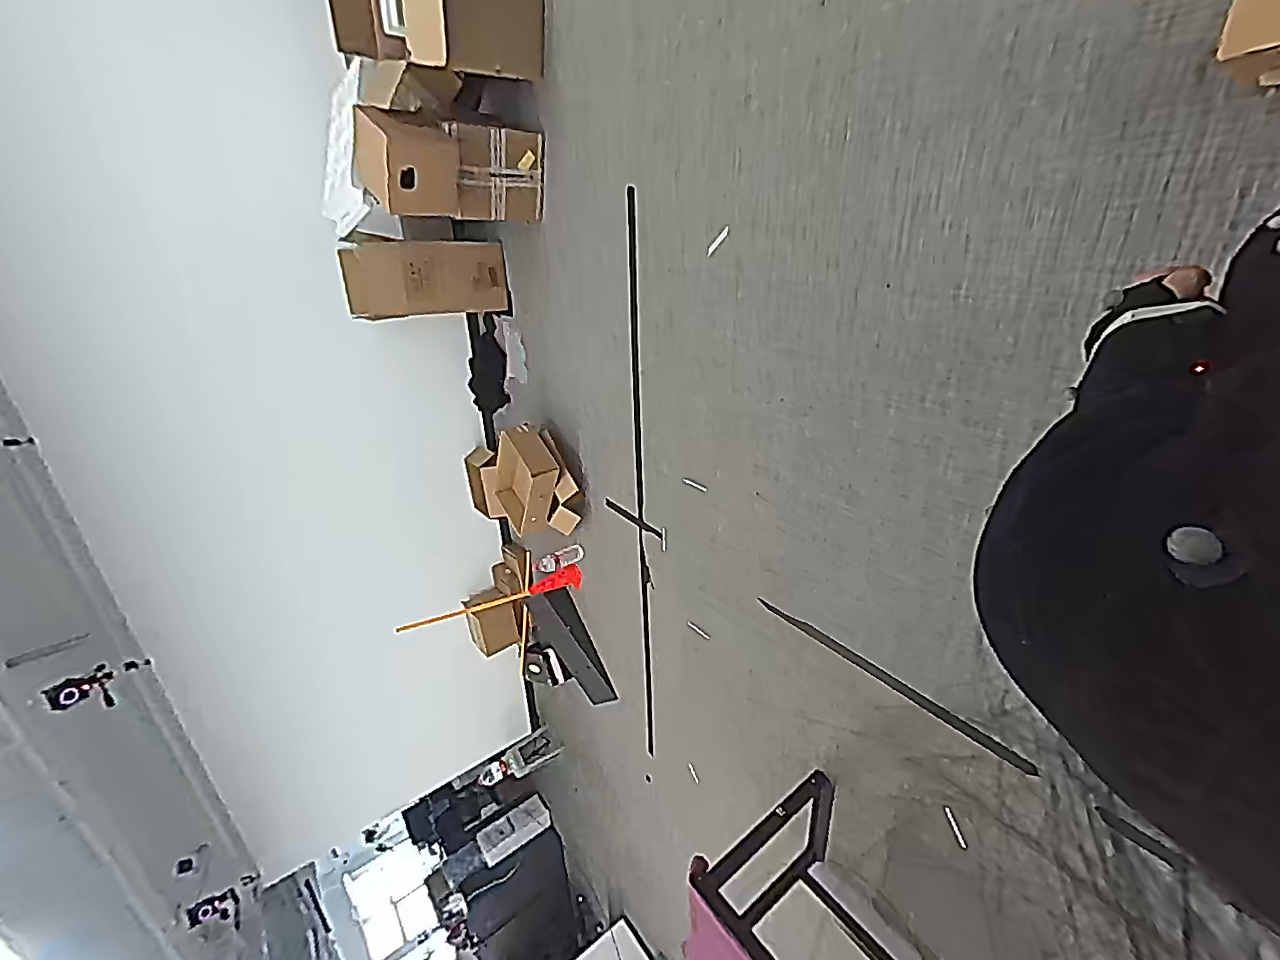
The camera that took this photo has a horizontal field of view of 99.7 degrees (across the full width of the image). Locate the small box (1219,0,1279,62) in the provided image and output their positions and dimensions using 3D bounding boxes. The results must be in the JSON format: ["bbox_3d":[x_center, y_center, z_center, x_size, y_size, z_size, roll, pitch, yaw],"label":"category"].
[{"bbox_3d":[0.905,-0.667,0.695,0.168,0.176,0.179,24,125,48],"label":"small box"}]

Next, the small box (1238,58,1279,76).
[{"bbox_3d":[1.033,-0.712,0.784,0.168,0.176,0.179,26,126,48],"label":"small box"}]
